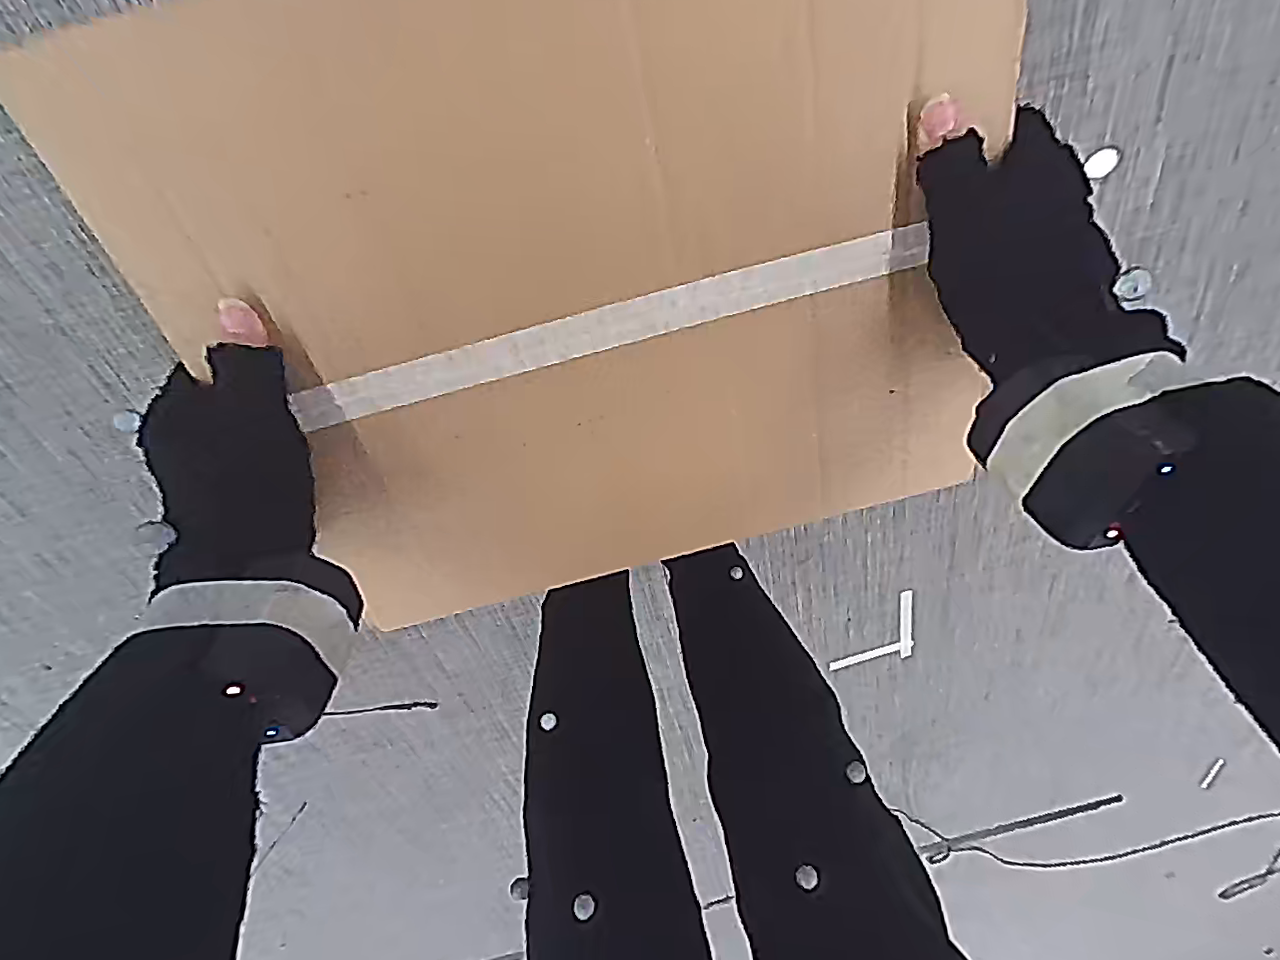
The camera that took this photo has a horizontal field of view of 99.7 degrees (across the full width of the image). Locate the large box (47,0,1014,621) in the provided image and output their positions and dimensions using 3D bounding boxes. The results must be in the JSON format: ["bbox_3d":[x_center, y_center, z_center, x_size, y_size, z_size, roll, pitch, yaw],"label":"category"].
[{"bbox_3d":[-0.030,-0.155,0.411,0.408,0.320,0.320,-15,123,1],"label":"large box"}]
